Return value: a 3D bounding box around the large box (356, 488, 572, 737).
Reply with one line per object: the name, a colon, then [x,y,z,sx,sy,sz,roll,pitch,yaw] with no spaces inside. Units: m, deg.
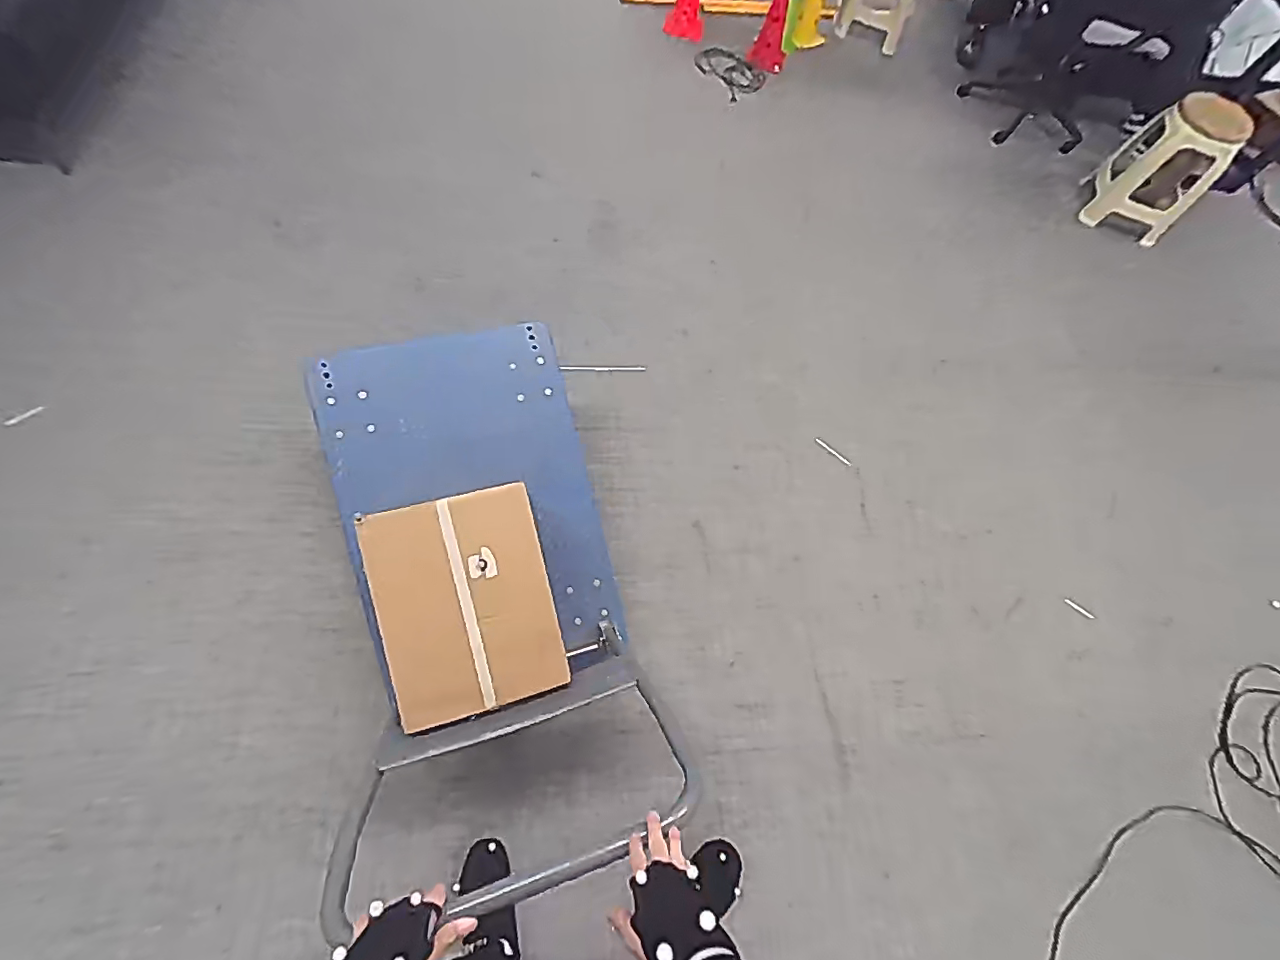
large box: [-0.357,0.253,1.161,0.320,0.320,0.408,-14,89,-14]
